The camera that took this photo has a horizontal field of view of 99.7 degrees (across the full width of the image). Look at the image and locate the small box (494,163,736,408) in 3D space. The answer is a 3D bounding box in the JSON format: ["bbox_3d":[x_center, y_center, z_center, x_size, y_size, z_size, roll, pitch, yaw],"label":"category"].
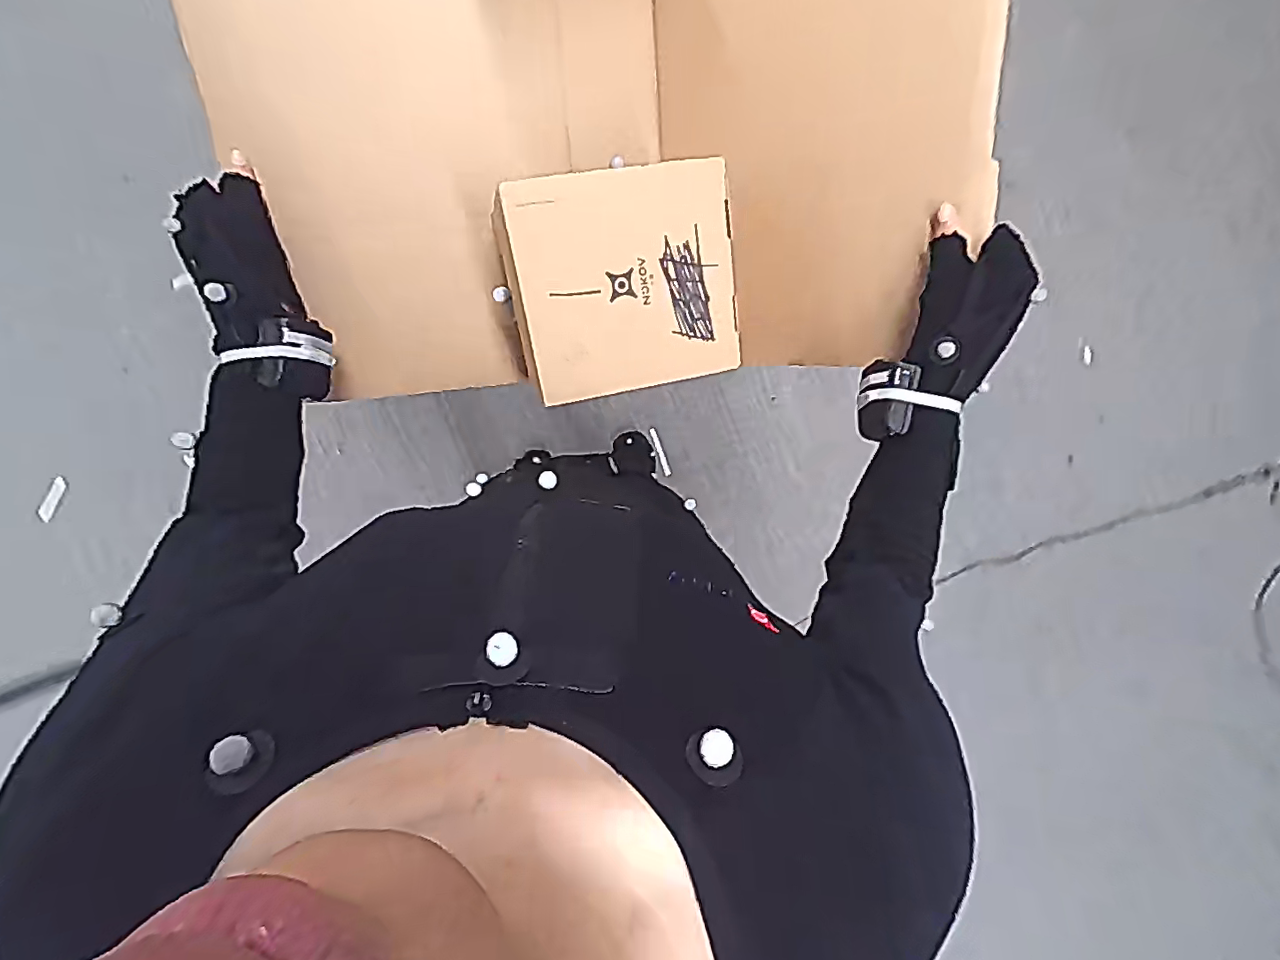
[{"bbox_3d":[-0.030,-0.179,0.504,0.179,0.176,0.168,-14,112,-11],"label":"small box"}]
